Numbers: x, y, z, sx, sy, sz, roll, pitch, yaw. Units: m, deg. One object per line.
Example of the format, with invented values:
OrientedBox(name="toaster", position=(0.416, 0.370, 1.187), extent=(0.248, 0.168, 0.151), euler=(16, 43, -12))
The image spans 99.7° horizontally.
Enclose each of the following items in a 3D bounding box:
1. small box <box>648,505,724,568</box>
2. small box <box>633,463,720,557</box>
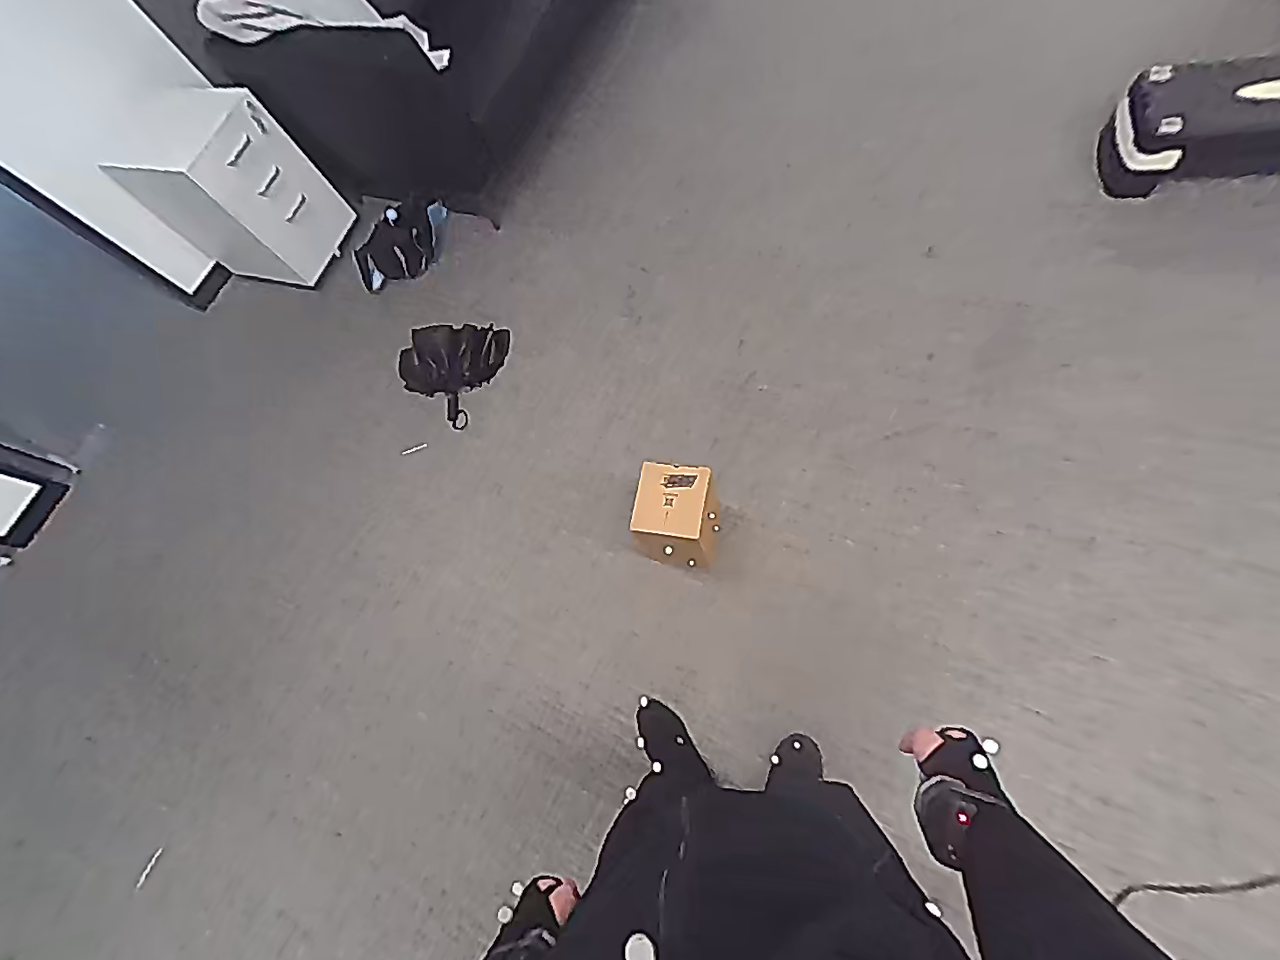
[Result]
OrientedBox(name="small box", position=(0.132, 0.133, 1.467), extent=(0.168, 0.176, 0.179), euler=(5, 69, 17))
OrientedBox(name="small box", position=(0.096, 0.076, 1.316), extent=(0.168, 0.176, 0.179), euler=(6, 72, 18))
